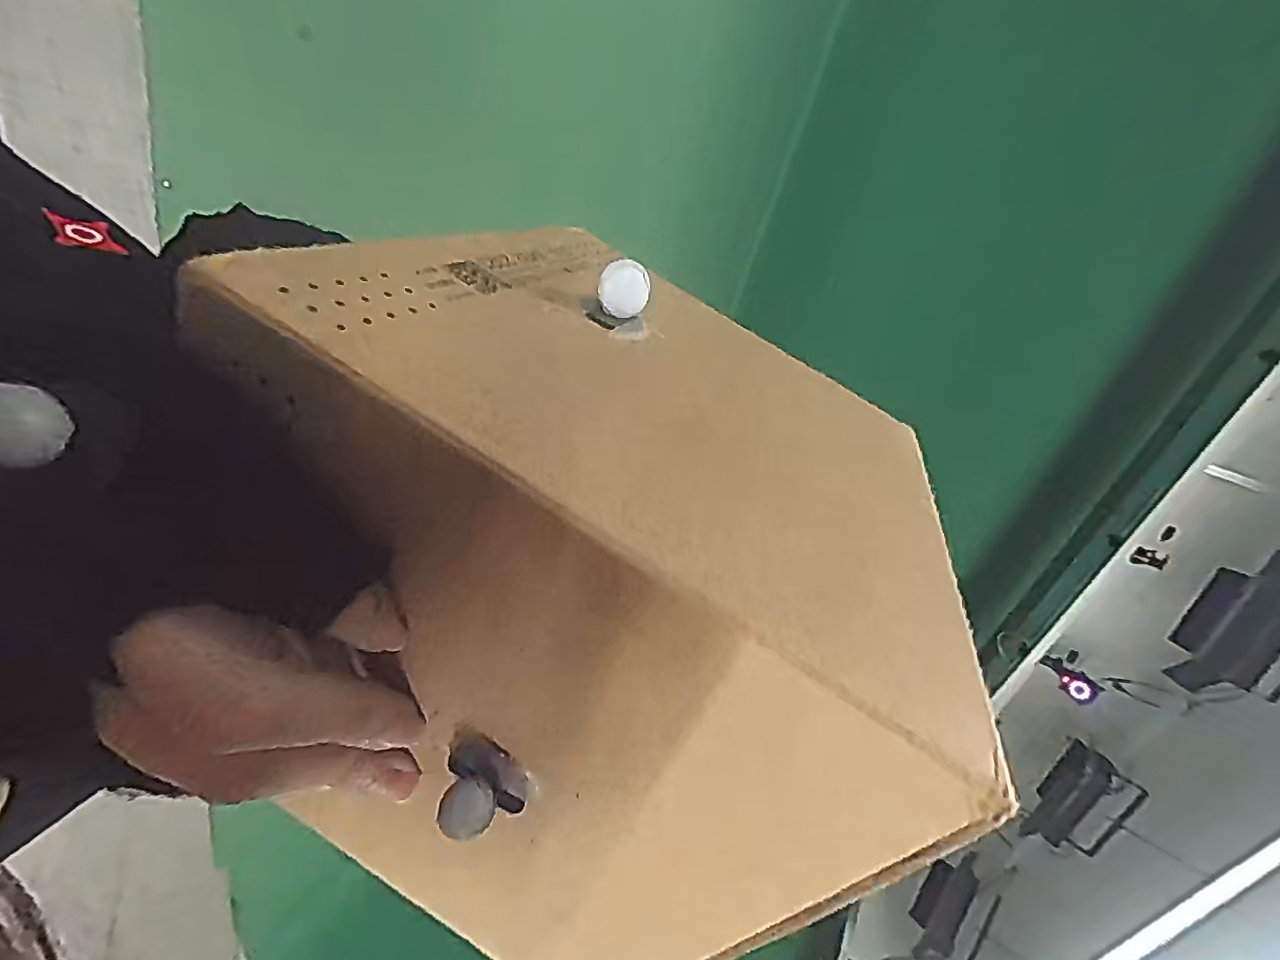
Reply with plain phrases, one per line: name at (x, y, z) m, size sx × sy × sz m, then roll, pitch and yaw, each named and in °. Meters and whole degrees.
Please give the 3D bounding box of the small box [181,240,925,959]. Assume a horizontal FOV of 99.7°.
small box at (-0.031, 0.033, 0.210) m, size 0.179 × 0.176 × 0.168 m, roll -59°, pitch 177°, yaw 31°
